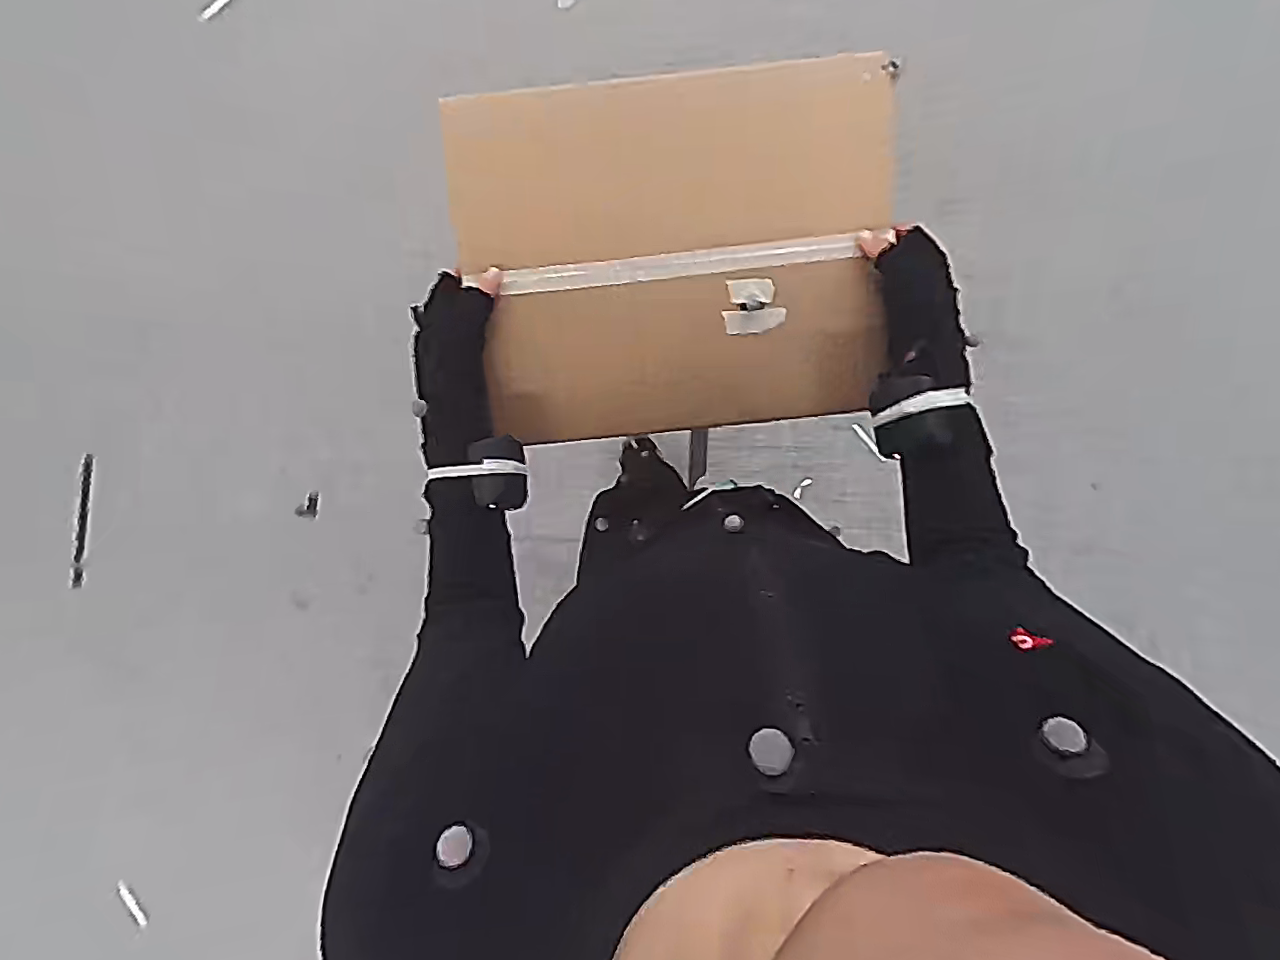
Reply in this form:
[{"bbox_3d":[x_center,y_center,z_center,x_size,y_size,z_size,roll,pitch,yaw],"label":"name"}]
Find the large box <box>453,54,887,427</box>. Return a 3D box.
[{"bbox_3d":[0.034,-0.255,0.668,0.408,0.320,0.320,-4,105,0],"label":"large box"}]
